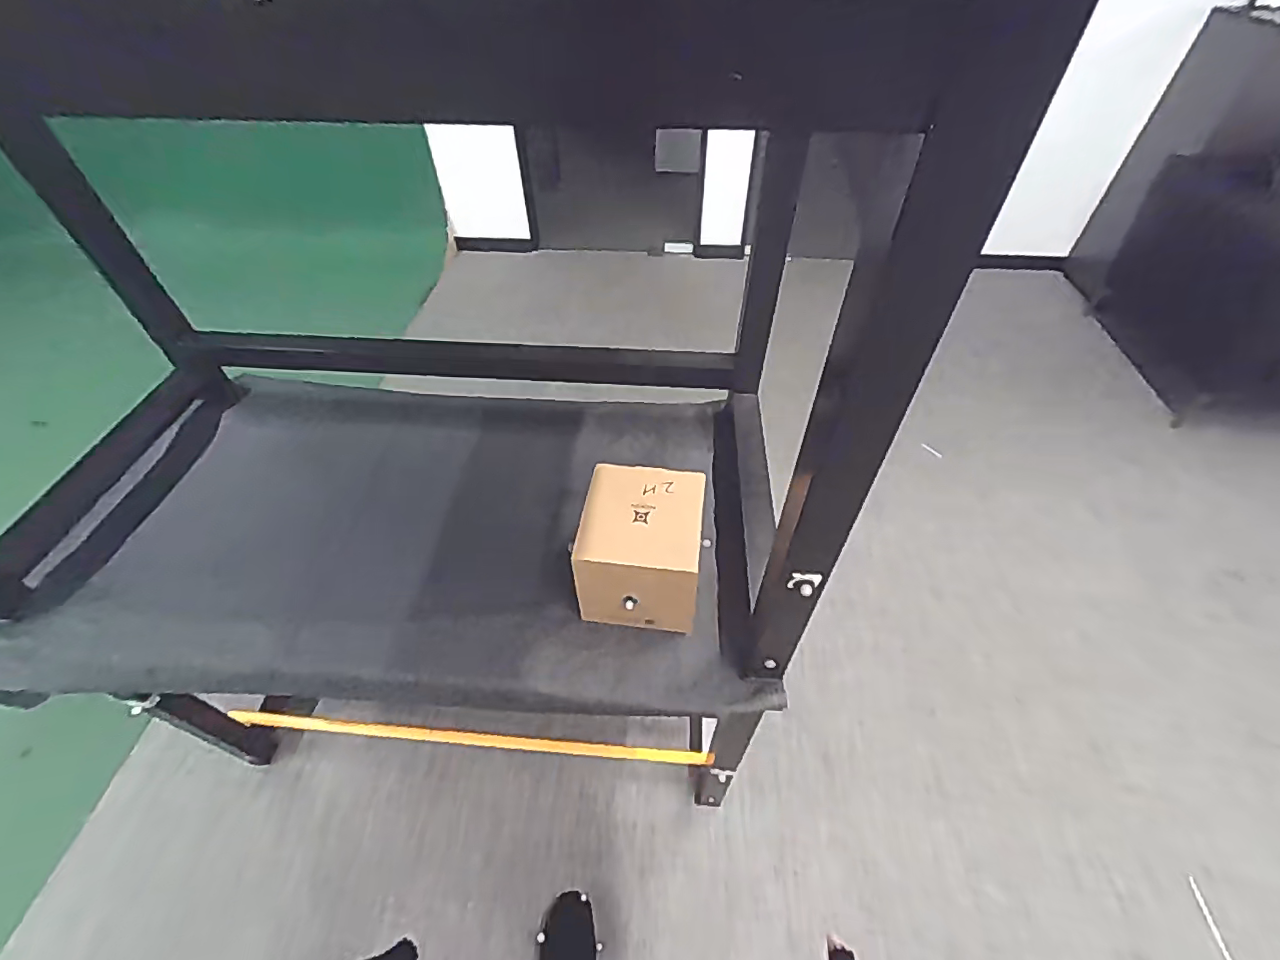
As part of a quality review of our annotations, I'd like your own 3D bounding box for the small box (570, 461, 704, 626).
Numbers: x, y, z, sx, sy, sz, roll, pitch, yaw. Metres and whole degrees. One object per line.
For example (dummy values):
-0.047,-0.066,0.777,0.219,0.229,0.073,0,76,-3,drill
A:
0.003,0.098,0.806,0.168,0.176,0.179,6,48,6,small box
